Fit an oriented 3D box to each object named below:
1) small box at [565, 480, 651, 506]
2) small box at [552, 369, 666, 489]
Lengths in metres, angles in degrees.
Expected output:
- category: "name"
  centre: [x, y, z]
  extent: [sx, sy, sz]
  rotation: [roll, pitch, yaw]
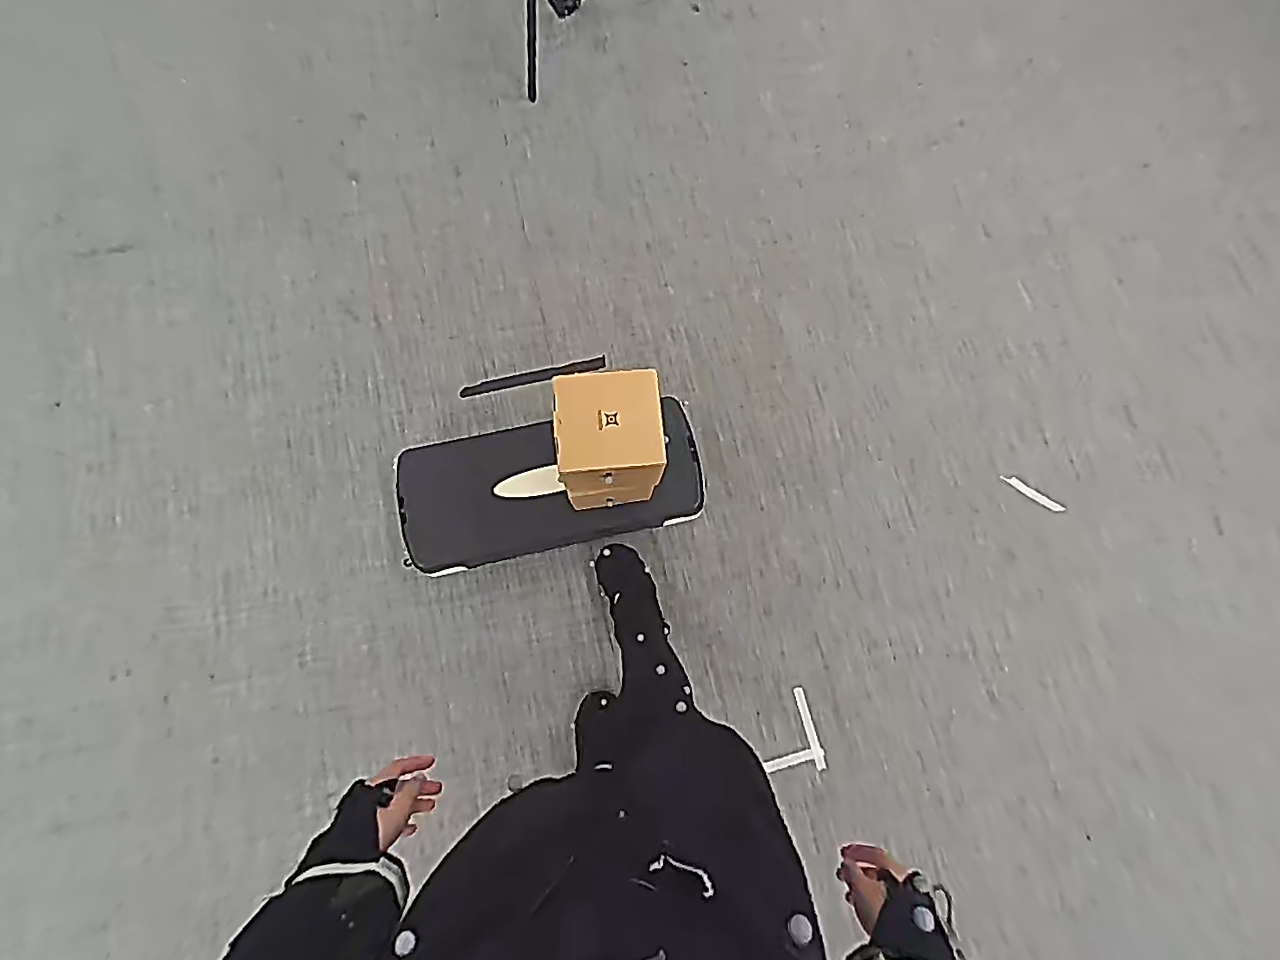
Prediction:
- category: "small box"
  centre: [-0.072, -0.046, 1.110]
  extent: [0.168, 0.176, 0.179]
  rotation: [-8, 78, -4]
- category: "small box"
  centre: [-0.055, -0.083, 0.952]
  extent: [0.179, 0.176, 0.168]
  rotation: [-5, 79, -3]
